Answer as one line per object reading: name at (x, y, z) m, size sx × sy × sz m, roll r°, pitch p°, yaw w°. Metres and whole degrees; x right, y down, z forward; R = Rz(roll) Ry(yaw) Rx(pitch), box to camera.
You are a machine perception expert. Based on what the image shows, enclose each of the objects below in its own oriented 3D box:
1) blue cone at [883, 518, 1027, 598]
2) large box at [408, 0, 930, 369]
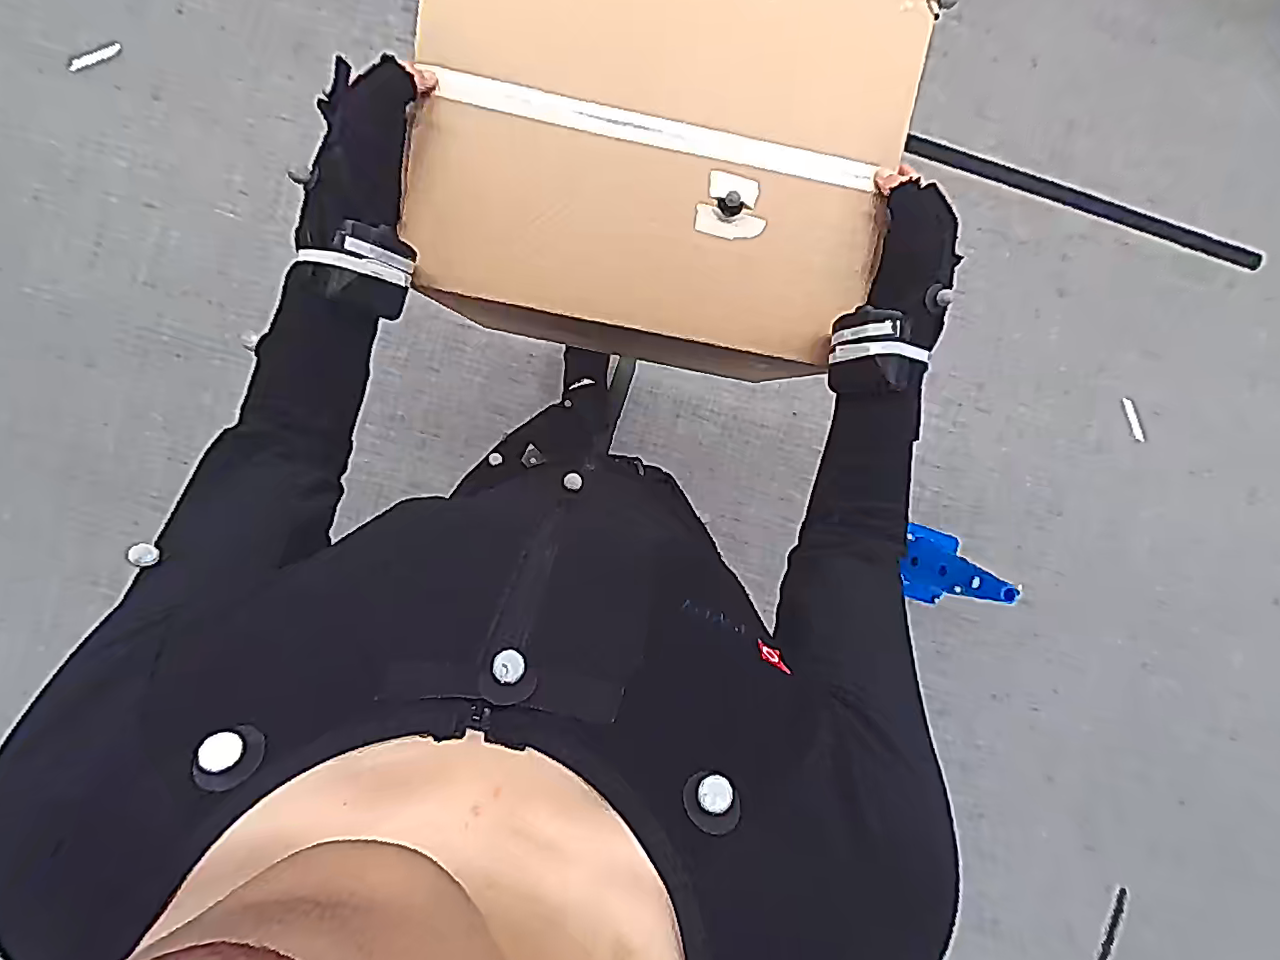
blue cone at (0.790, 0.222, 1.339) m, size 0.192 × 0.380 × 0.193 m, roll 20°, pitch 92°, yaw -4°
large box at (0.012, -0.318, 0.598) m, size 0.408 × 0.320 × 0.320 m, roll 10°, pitch 98°, yaw -5°
